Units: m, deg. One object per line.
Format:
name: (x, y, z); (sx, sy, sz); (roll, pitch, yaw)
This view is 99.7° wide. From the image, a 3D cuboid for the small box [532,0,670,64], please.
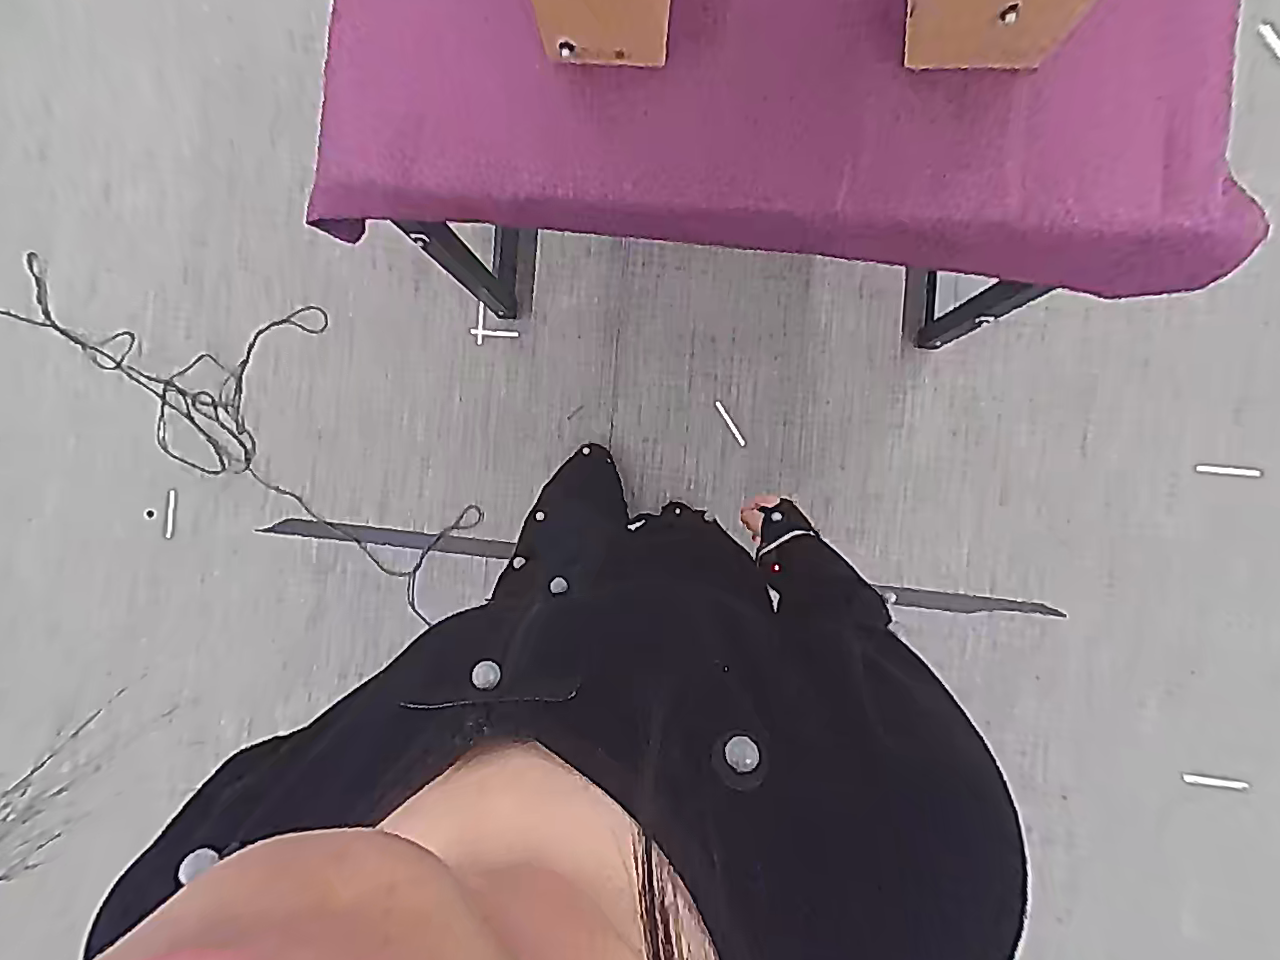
small box: (-0.045, -0.663, 0.672); (0.168, 0.176, 0.179); (5, 89, 3)
